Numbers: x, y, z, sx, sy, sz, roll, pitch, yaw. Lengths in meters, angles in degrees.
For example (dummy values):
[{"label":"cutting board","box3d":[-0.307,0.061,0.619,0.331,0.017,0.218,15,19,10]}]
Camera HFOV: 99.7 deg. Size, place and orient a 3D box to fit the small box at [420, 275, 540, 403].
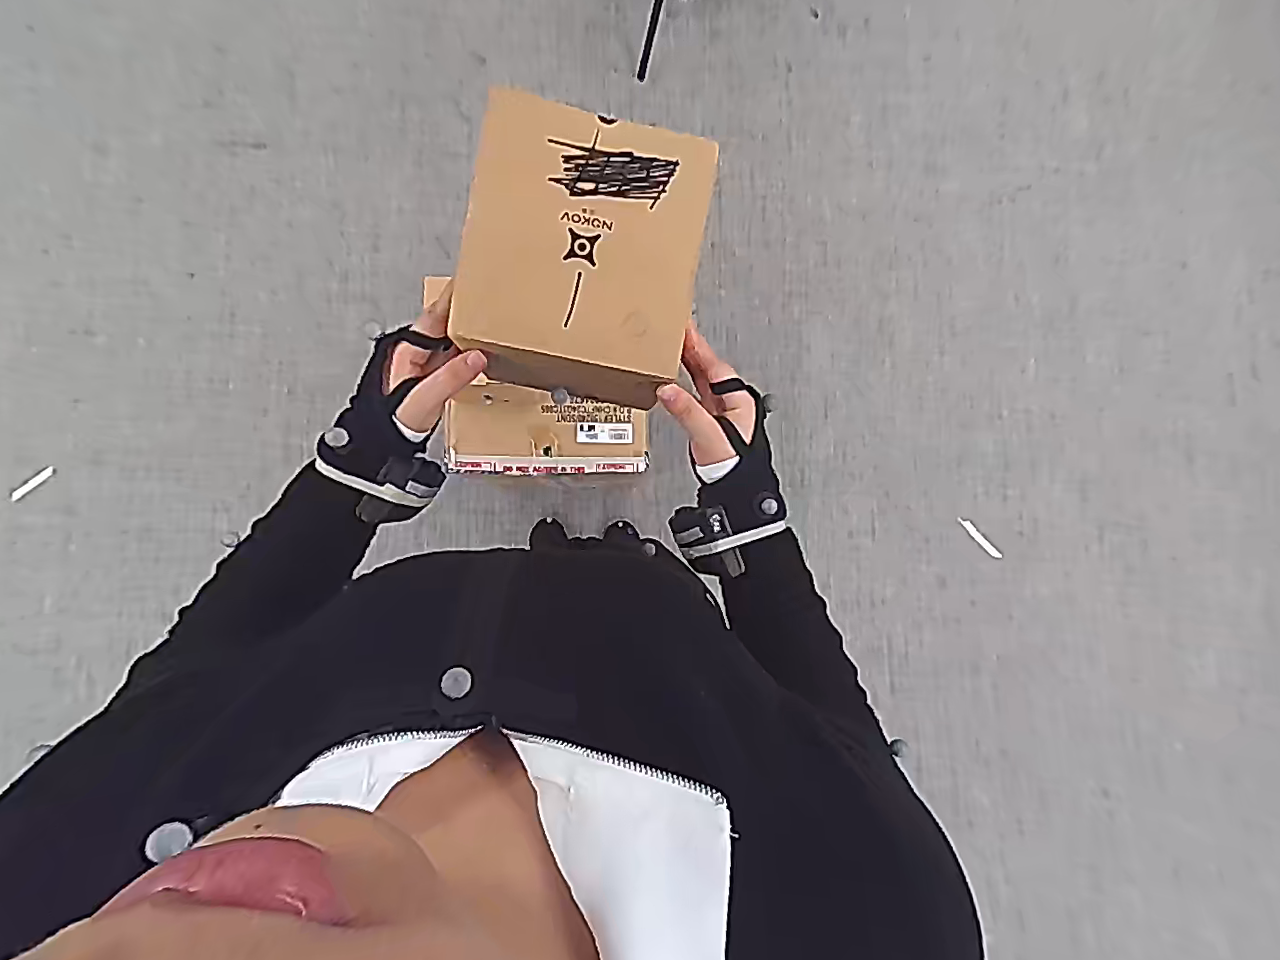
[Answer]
[{"label":"small box","box3d":[-0.273,-0.241,0.954,0.168,0.176,0.179,1,88,-1]}]
